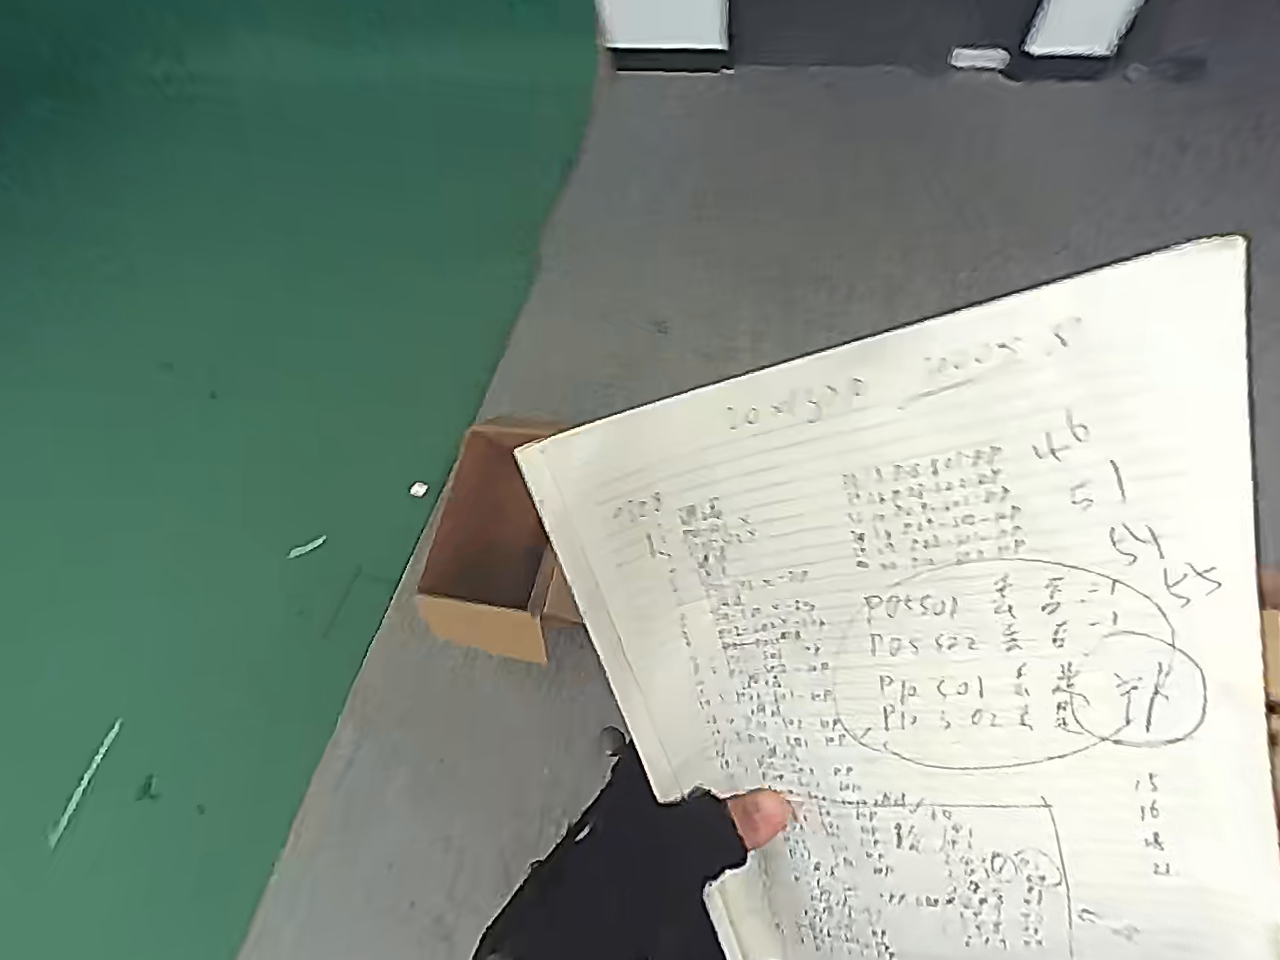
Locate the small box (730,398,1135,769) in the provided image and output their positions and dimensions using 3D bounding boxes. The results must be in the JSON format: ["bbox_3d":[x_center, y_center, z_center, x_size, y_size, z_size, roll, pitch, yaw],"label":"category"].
[{"bbox_3d":[0.145,0.062,0.341,0.168,0.176,0.179,0,76,6],"label":"small box"}]
